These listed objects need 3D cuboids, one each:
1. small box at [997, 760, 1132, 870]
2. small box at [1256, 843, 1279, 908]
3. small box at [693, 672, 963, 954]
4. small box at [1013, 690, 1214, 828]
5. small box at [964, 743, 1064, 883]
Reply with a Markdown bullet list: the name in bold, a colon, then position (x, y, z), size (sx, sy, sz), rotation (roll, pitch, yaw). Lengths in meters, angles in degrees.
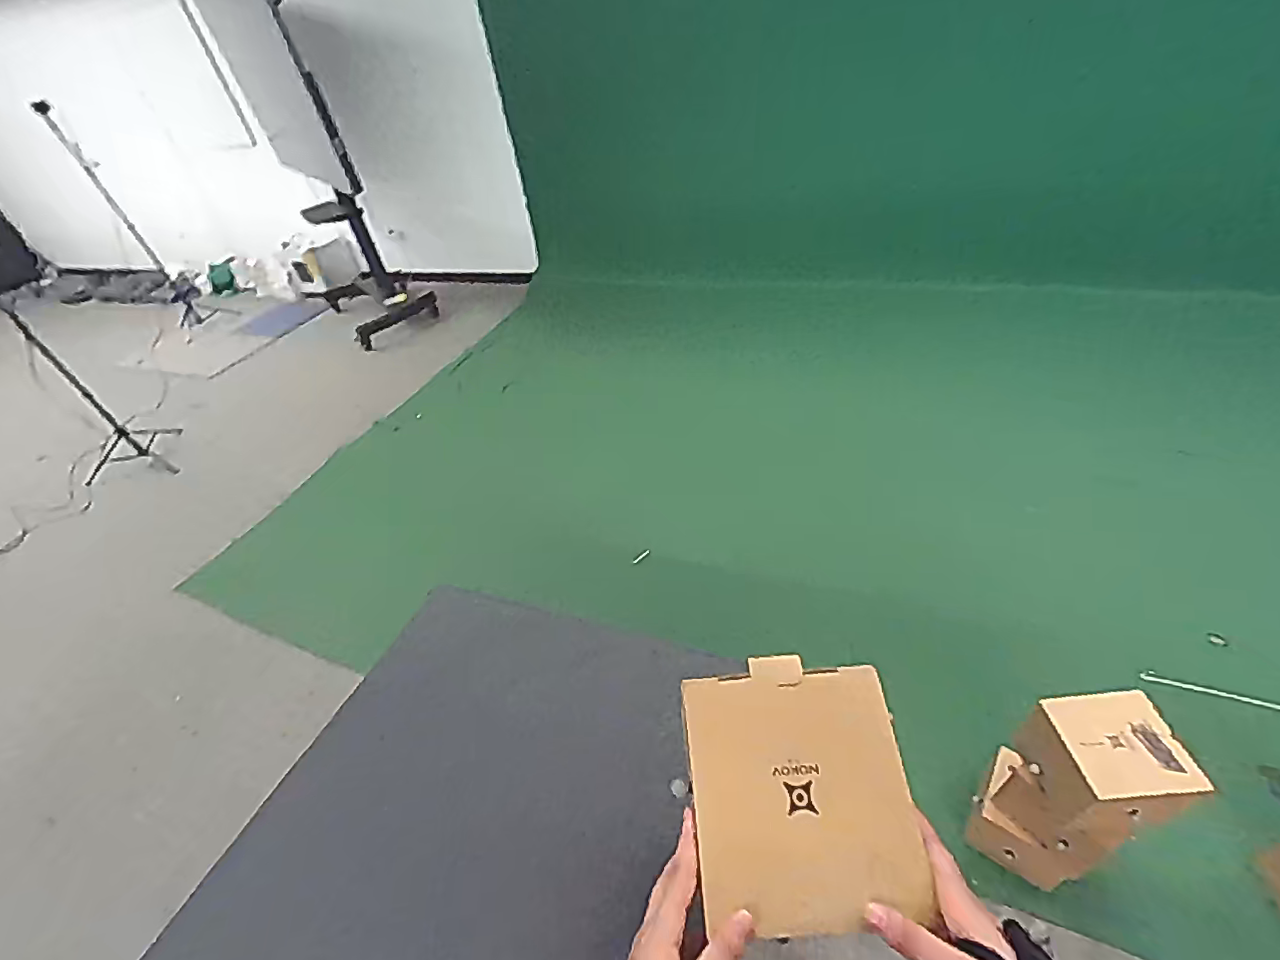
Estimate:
- **small box**: position (0.835, 0.612, 1.051), size (0.179, 0.176, 0.168), rotation (-27, 45, -19)
- **small box**: position (1.334, 0.785, 1.005), size (0.168, 0.176, 0.179), rotation (3, 42, 14)
- **small box**: position (0.137, 0.278, 0.472), size (0.168, 0.176, 0.179), rotation (-5, 59, 2)
- **small box**: position (0.806, 0.489, 0.946), size (0.179, 0.176, 0.168), rotation (-7, 42, 4)
- **small box**: position (0.829, 0.724, 1.173), size (0.168, 0.176, 0.179), rotation (23, 51, 31)
